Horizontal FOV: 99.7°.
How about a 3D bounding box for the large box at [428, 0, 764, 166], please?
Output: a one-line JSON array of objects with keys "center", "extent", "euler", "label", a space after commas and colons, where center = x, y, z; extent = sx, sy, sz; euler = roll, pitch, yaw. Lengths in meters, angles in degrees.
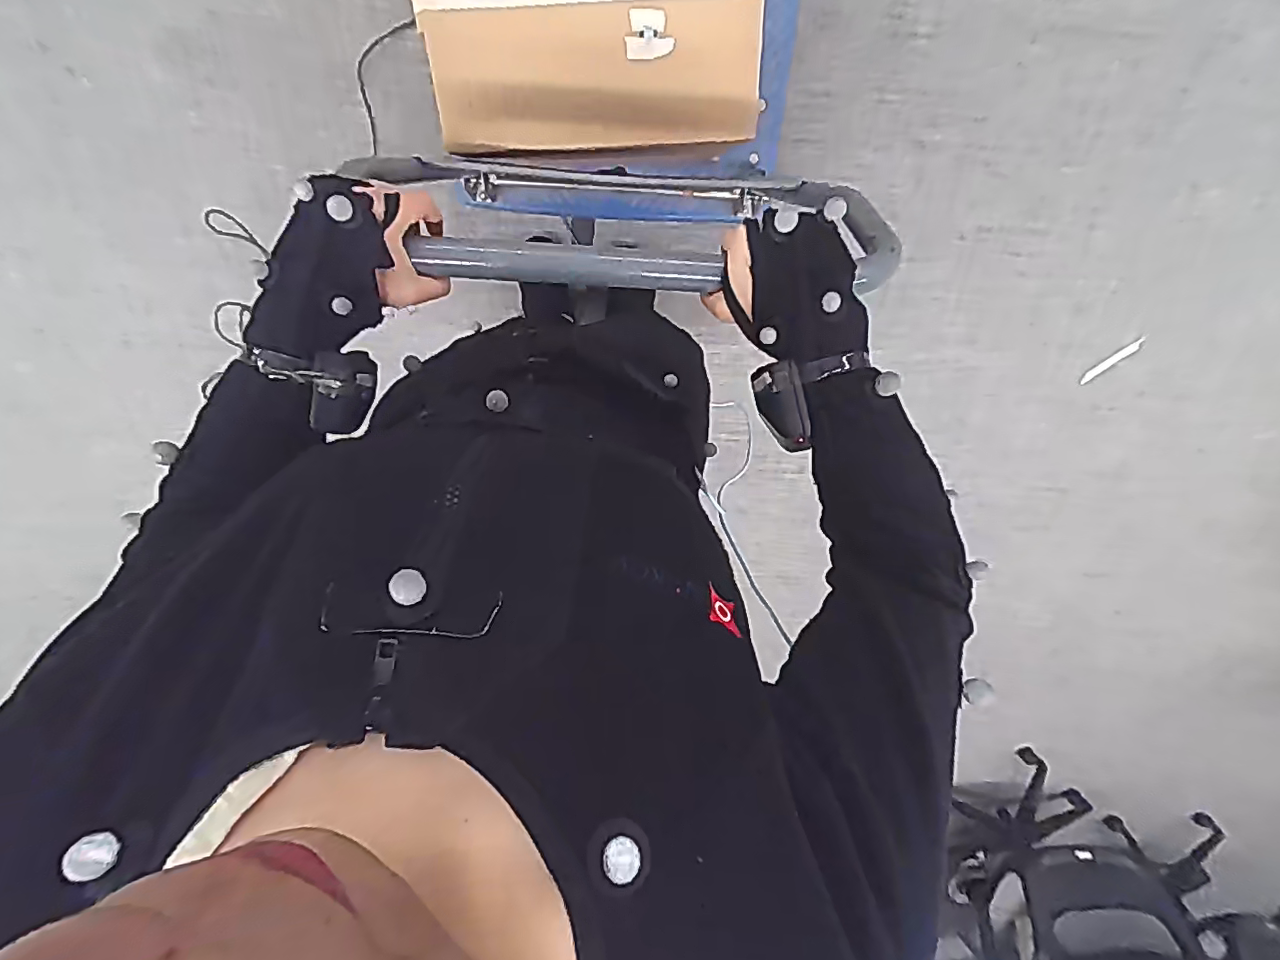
[{"center": [-0.059, -0.642, 0.763], "extent": [0.408, 0.320, 0.320], "euler": [-4, 118, -1], "label": "large box"}]
